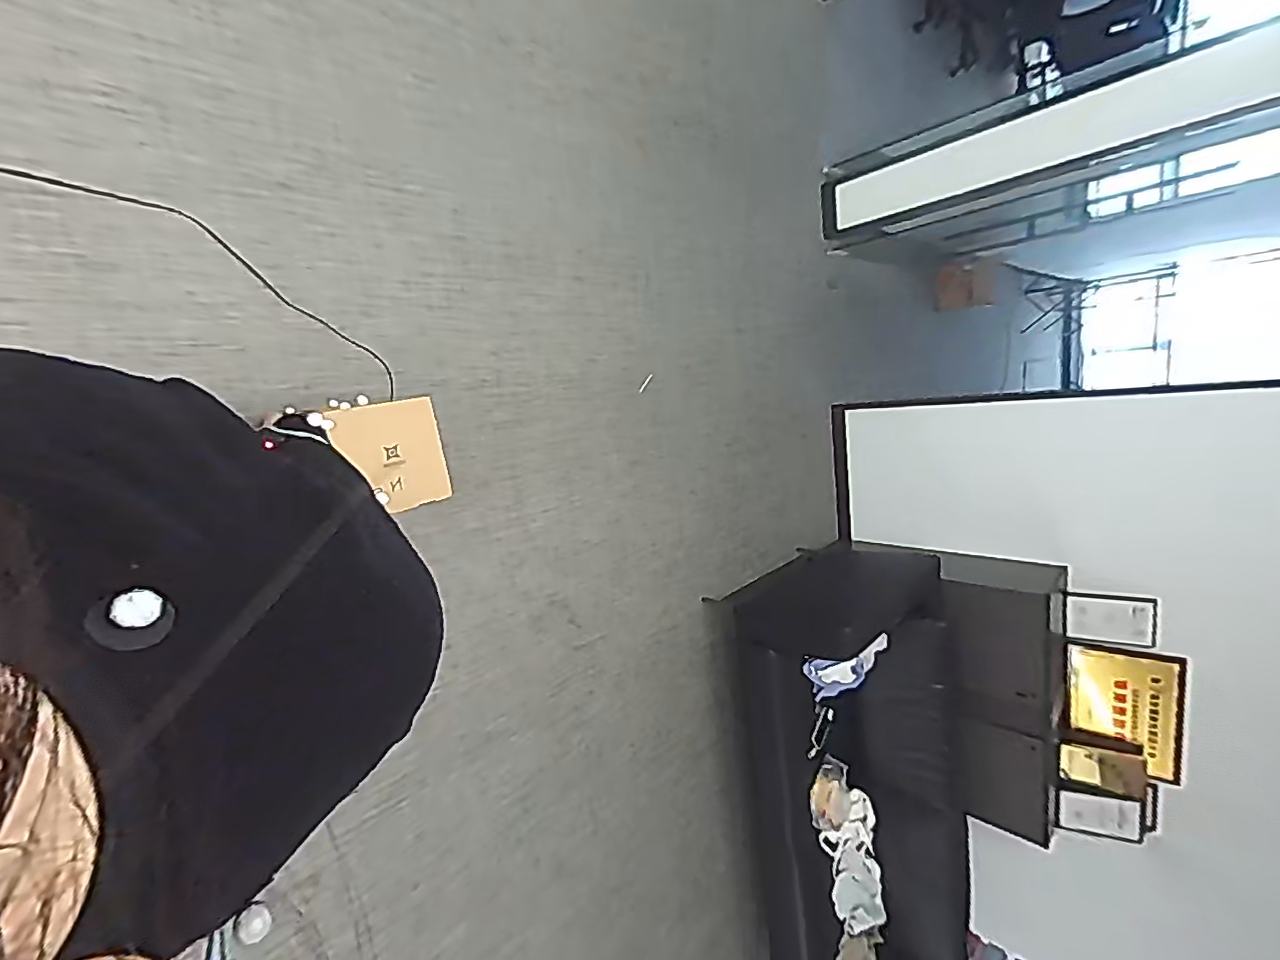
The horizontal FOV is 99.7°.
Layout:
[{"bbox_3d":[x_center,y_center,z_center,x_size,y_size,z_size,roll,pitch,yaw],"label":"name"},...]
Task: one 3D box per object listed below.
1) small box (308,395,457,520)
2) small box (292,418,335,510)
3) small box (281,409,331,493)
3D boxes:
[{"bbox_3d":[-0.439,-0.041,0.916,0.168,0.176,0.179,-18,105,-40],"label":"small box"},{"bbox_3d":[-0.547,-0.048,1.040,0.179,0.176,0.168,-20,106,-41],"label":"small box"},{"bbox_3d":[-0.648,-0.065,1.167,0.168,0.176,0.179,-20,107,-40],"label":"small box"}]
